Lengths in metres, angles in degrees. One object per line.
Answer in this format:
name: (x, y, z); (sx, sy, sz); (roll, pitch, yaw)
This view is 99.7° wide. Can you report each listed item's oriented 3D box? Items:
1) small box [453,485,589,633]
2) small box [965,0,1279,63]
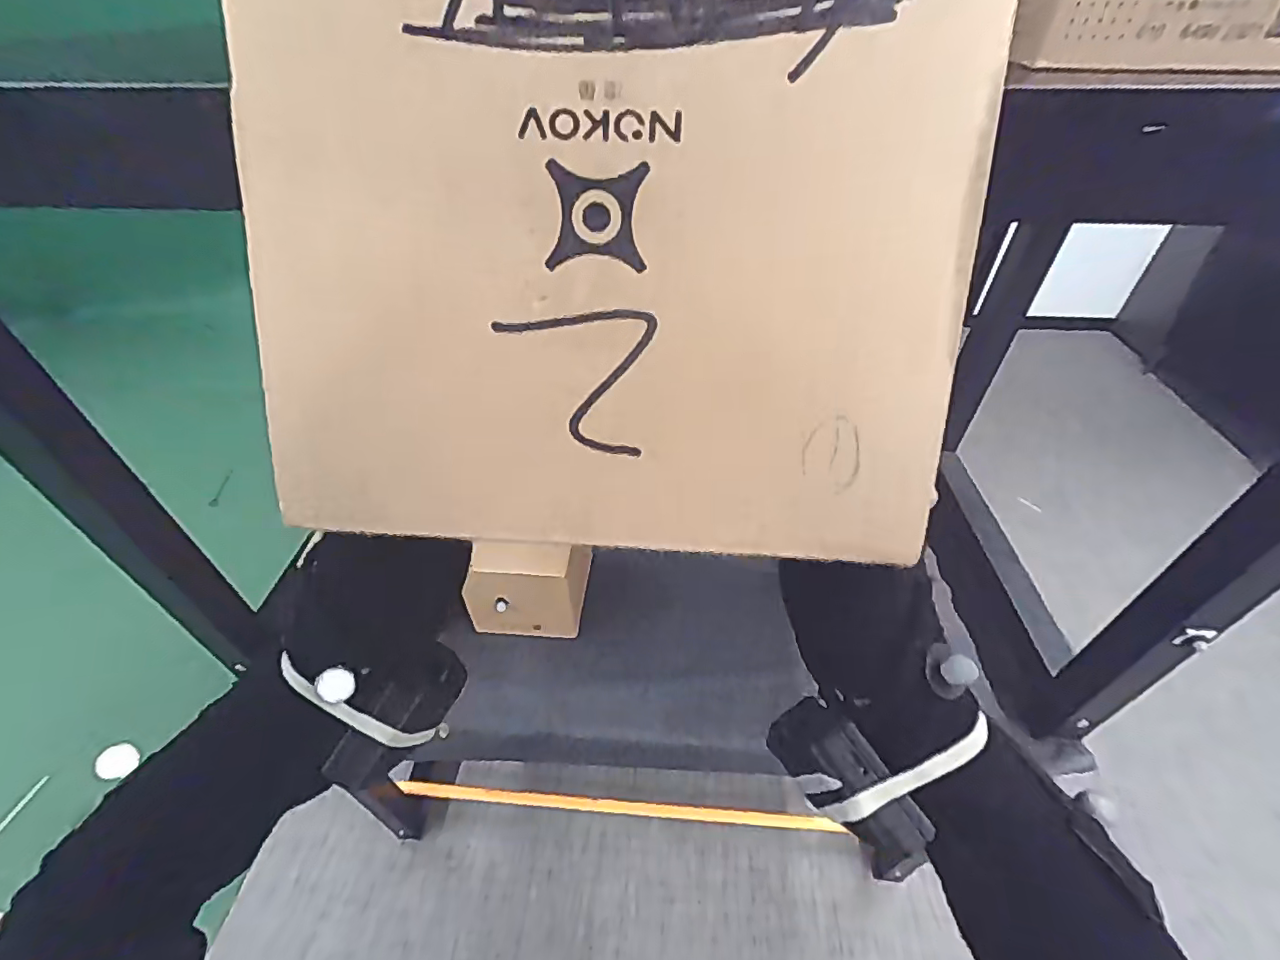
small box: (-0.178, 0.128, 0.876); (0.168, 0.176, 0.179); (3, 42, 3)
small box: (0.303, -0.332, 0.285); (0.168, 0.176, 0.179); (9, 43, 10)
